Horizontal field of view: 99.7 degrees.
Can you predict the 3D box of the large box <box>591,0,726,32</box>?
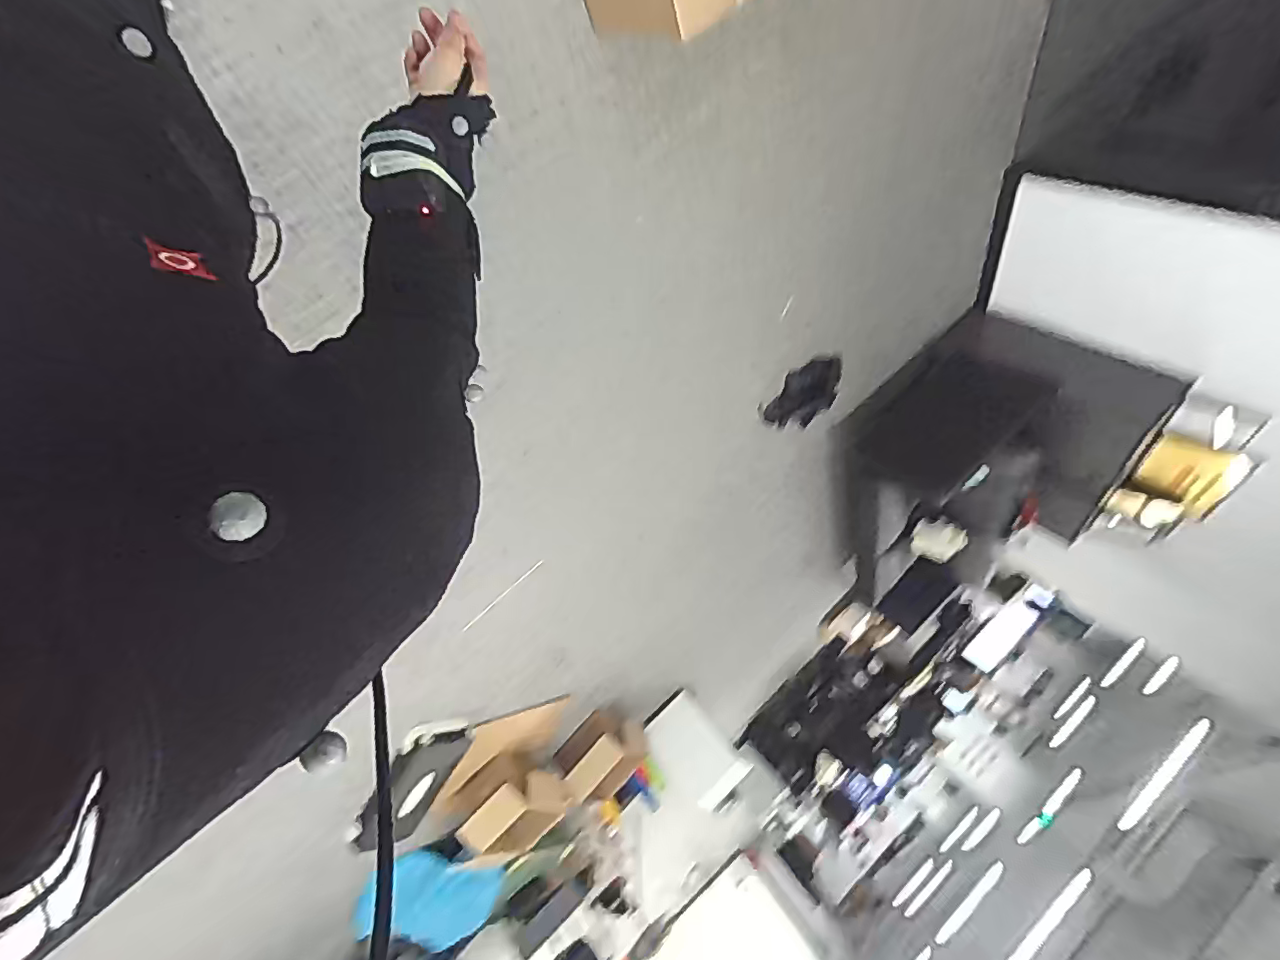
[{"bbox_3d":[0.043,-1.148,0.993,0.320,0.320,0.408,-40,144,-8],"label":"large box"}]
